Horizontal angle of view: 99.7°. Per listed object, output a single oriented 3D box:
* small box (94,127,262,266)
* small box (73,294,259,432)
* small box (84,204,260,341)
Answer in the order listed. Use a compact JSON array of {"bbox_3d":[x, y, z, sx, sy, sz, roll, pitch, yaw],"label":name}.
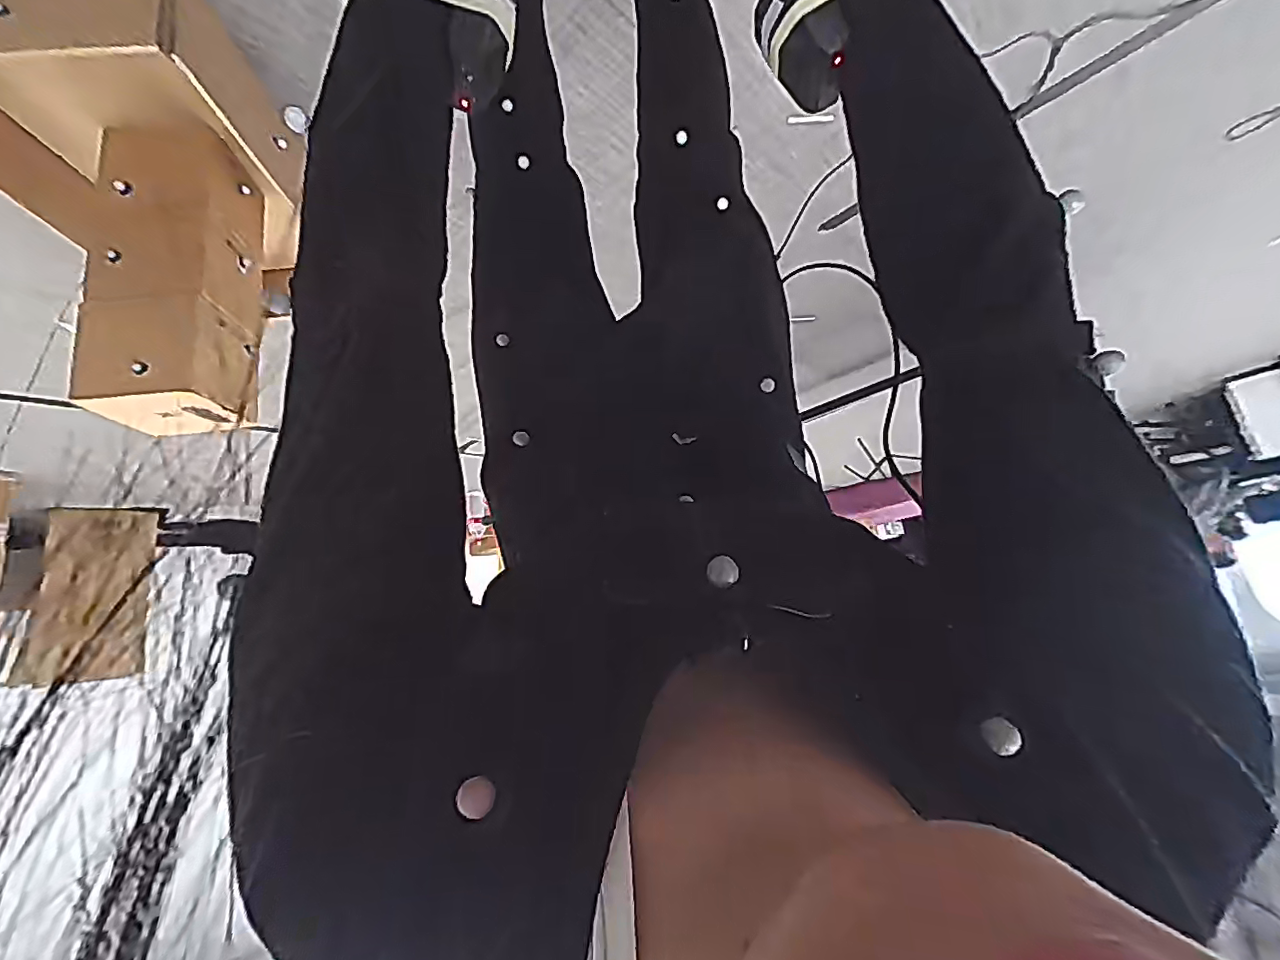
[{"bbox_3d":[-0.819,-0.507,0.980,0.179,0.176,0.168,-7,167,-9],"label":"small box"},{"bbox_3d":[-0.775,-0.193,0.902,0.179,0.176,0.168,-6,166,-6],"label":"small box"},{"bbox_3d":[-0.795,-0.352,0.940,0.179,0.176,0.168,-8,167,-7],"label":"small box"}]
